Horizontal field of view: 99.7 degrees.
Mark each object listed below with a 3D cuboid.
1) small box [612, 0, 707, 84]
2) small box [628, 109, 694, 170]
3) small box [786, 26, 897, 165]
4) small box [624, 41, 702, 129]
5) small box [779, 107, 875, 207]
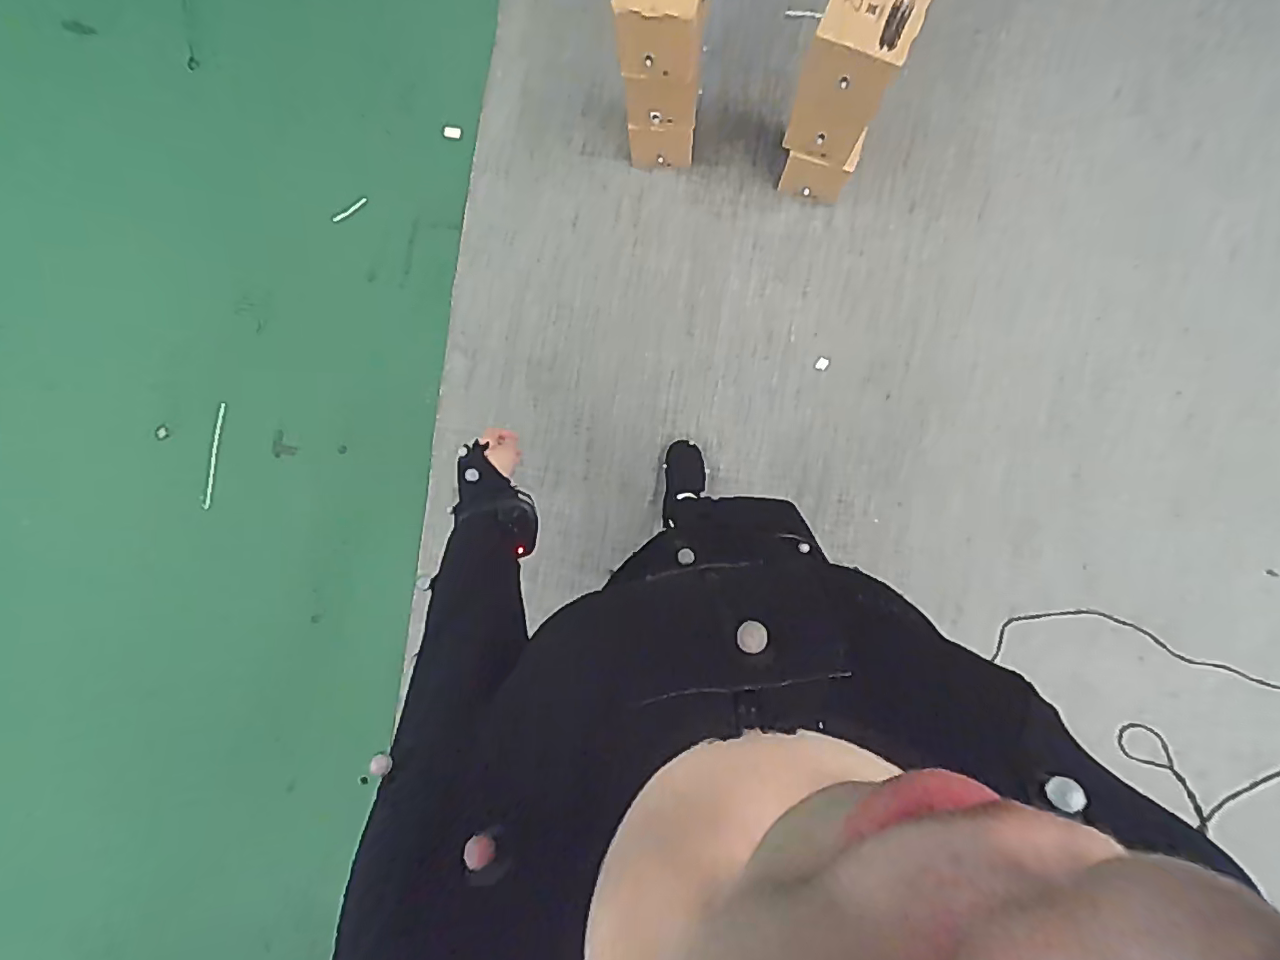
[{"bbox_3d":[0.046,-0.963,1.101,0.168,0.176,0.179,11,89,4],"label":"small box"},{"bbox_3d":[0.060,-0.956,1.425,0.168,0.176,0.179,4,89,4],"label":"small box"},{"bbox_3d":[0.448,-0.867,1.237,0.168,0.176,0.179,22,91,4],"label":"small box"},{"bbox_3d":[0.057,-0.963,1.263,0.168,0.176,0.179,4,89,4],"label":"small box"},{"bbox_3d":[0.473,-0.849,1.398,0.168,0.176,0.179,18,91,4],"label":"small box"}]
